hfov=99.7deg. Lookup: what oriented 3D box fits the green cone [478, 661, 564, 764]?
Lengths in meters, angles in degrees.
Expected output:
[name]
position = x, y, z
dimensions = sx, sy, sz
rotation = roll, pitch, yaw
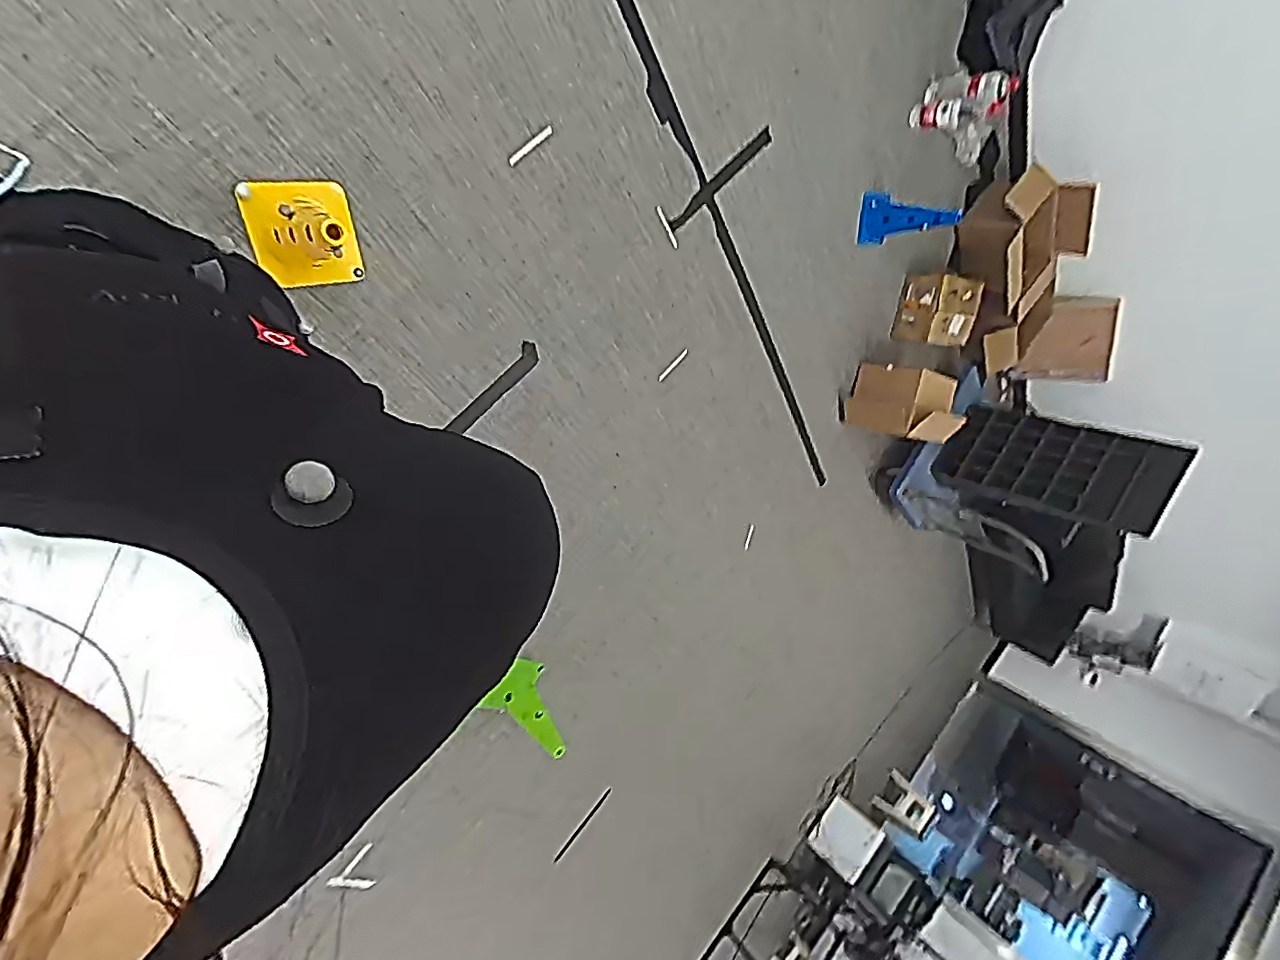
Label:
[green cone]
position = -0.356, 0.798, 1.800
dimensions = 0.200, 0.368, 0.202
rotation = 32, 89, -43
